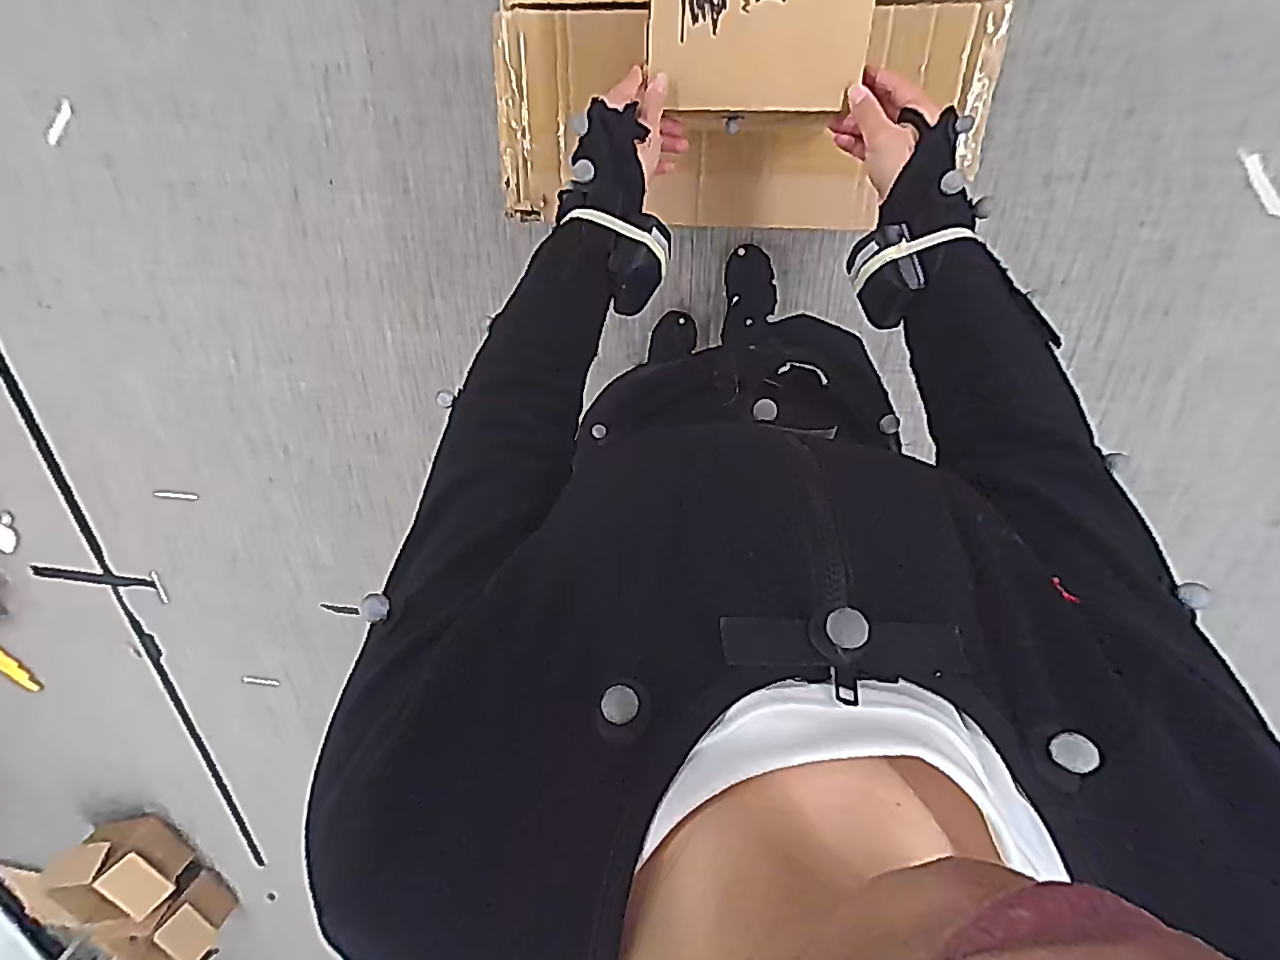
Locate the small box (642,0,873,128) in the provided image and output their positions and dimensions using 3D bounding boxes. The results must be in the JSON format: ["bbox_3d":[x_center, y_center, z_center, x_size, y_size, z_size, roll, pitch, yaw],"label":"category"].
[{"bbox_3d":[0.102,-0.417,0.477,0.179,0.176,0.168,5,119,6],"label":"small box"}]
